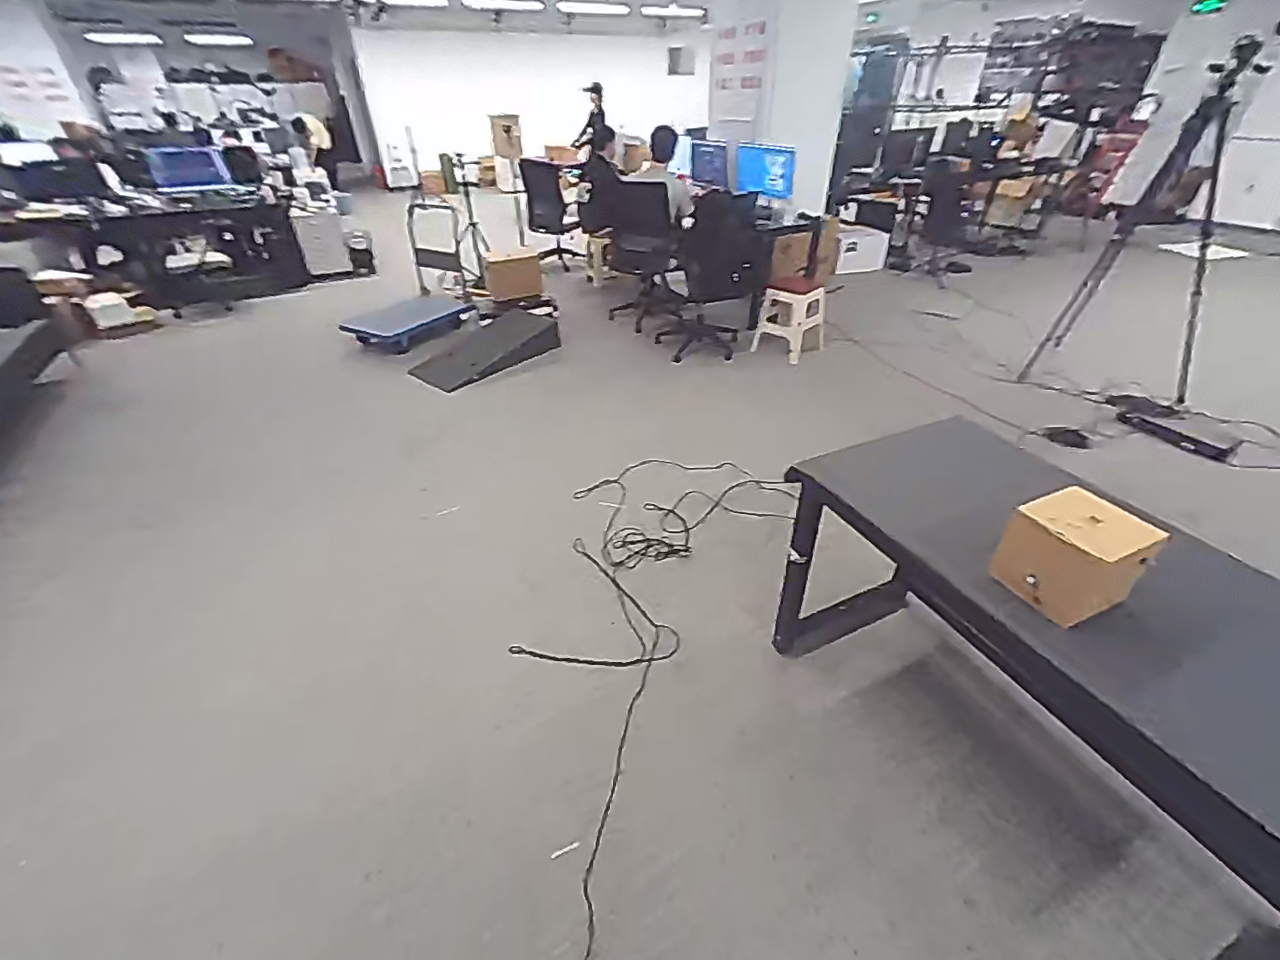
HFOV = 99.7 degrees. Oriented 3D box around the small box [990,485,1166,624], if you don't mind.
[{"bbox_3d":[0.807,0.138,1.017,0.179,0.176,0.168,-15,37,-19],"label":"small box"}]
